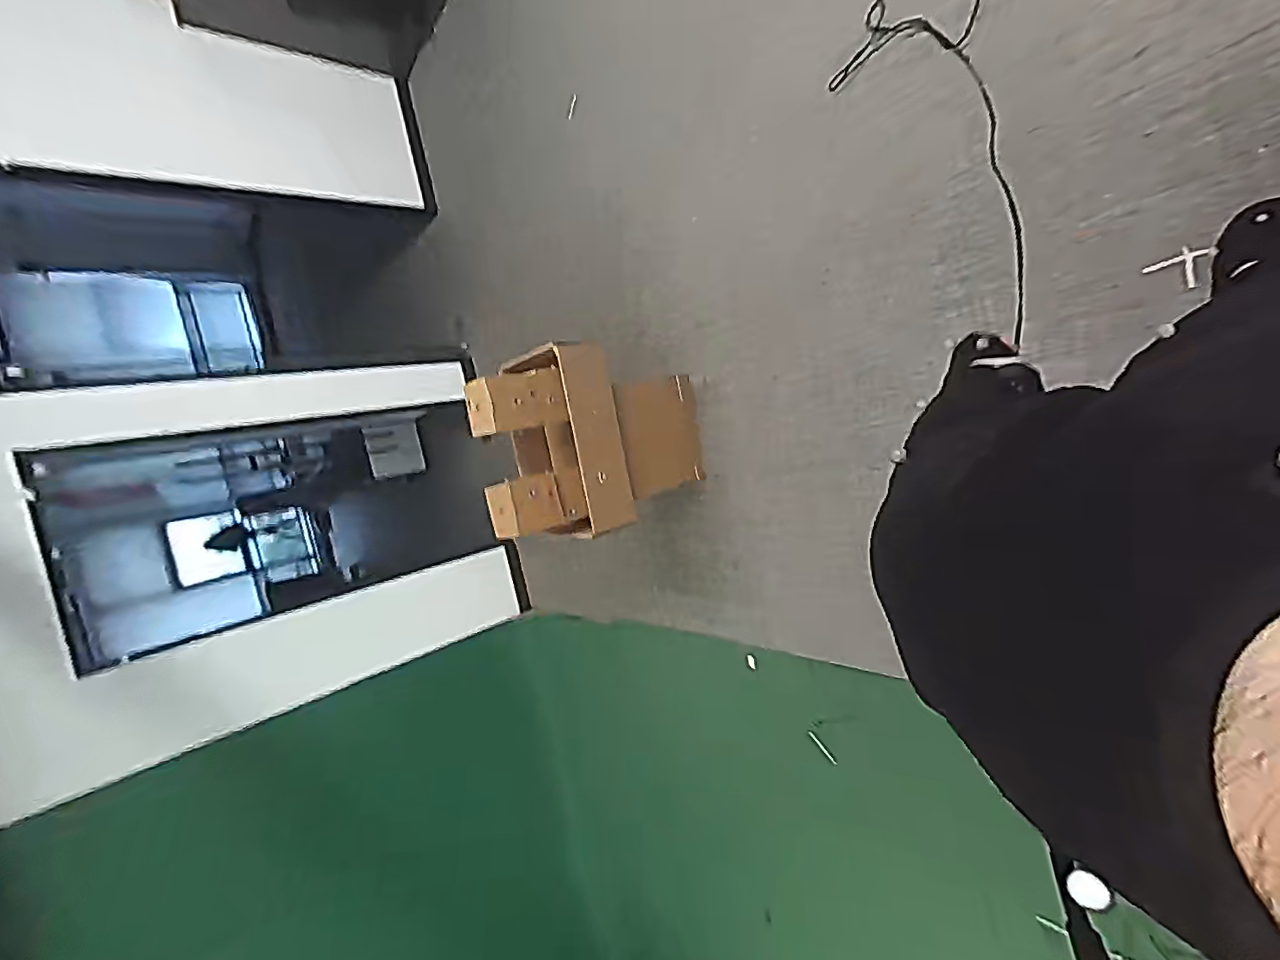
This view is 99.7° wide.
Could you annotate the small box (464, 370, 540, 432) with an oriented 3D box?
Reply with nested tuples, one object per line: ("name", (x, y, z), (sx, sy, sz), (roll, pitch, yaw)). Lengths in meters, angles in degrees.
("small box", (-0.428, -0.251, 1.709), (0.179, 0.176, 0.168), (-1, 101, 50))

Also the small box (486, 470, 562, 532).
("small box", (-0.367, 0.067, 1.742), (0.179, 0.176, 0.168), (-10, 94, 51))
